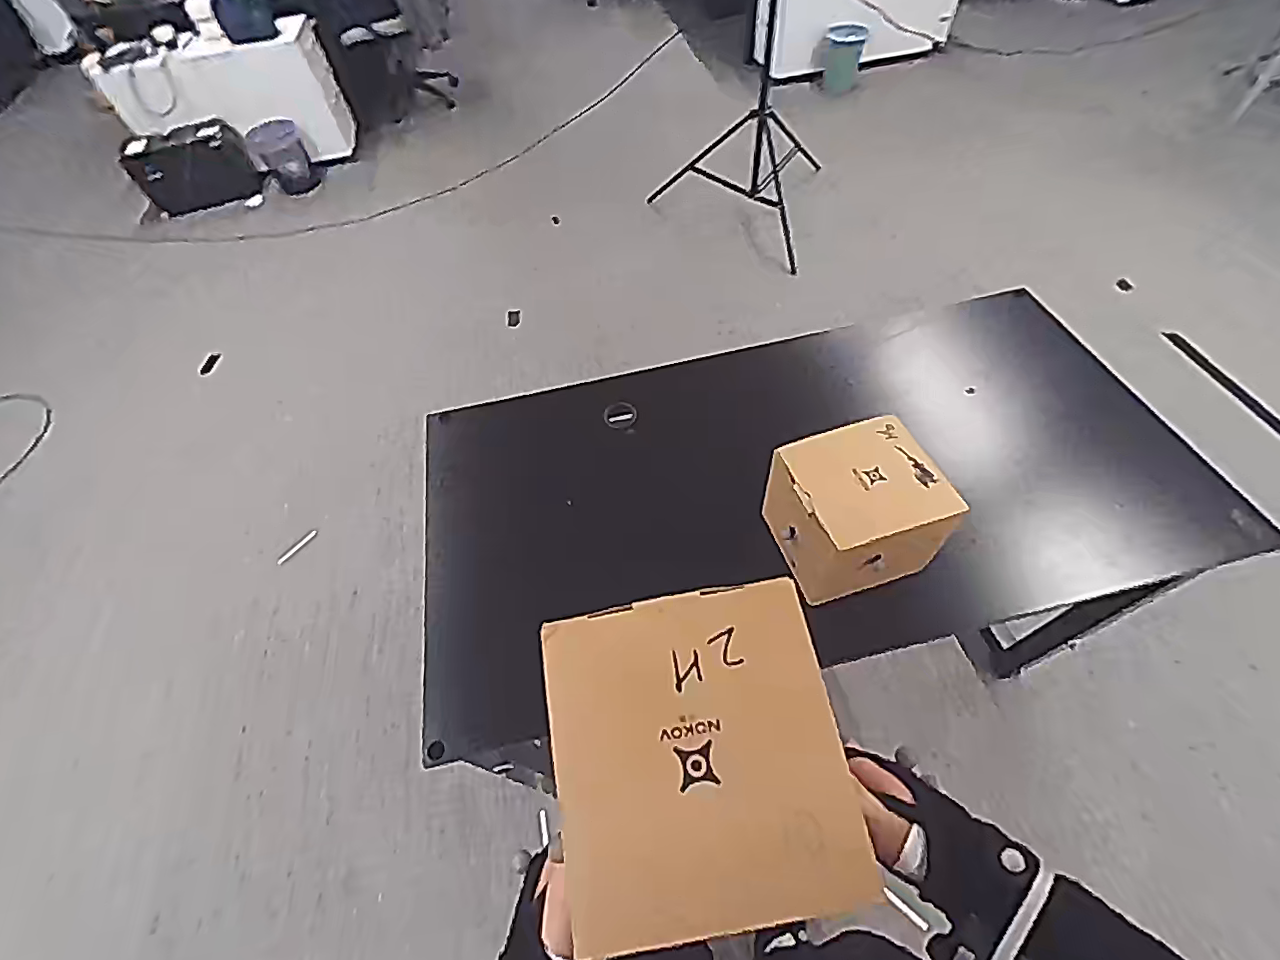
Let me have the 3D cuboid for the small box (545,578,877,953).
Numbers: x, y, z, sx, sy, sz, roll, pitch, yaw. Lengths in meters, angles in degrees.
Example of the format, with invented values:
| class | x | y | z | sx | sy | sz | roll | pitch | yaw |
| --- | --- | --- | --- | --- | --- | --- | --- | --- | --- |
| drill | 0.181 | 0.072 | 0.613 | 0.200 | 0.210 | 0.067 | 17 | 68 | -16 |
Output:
| class | x | y | z | sx | sy | sz | roll | pitch | yaw |
| --- | --- | --- | --- | --- | --- | --- | --- | --- | --- |
| small box | 0.039 | 0.187 | 0.389 | 0.168 | 0.176 | 0.179 | -11 | 65 | 0 |

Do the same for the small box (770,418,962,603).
| class | x | y | z | sx | sy | sz | roll | pitch | yaw |
| --- | --- | --- | --- | --- | --- | --- | --- | --- | --- |
| small box | 0.290 | 0.048 | 0.745 | 0.179 | 0.176 | 0.168 | -17 | 55 | -5 |
